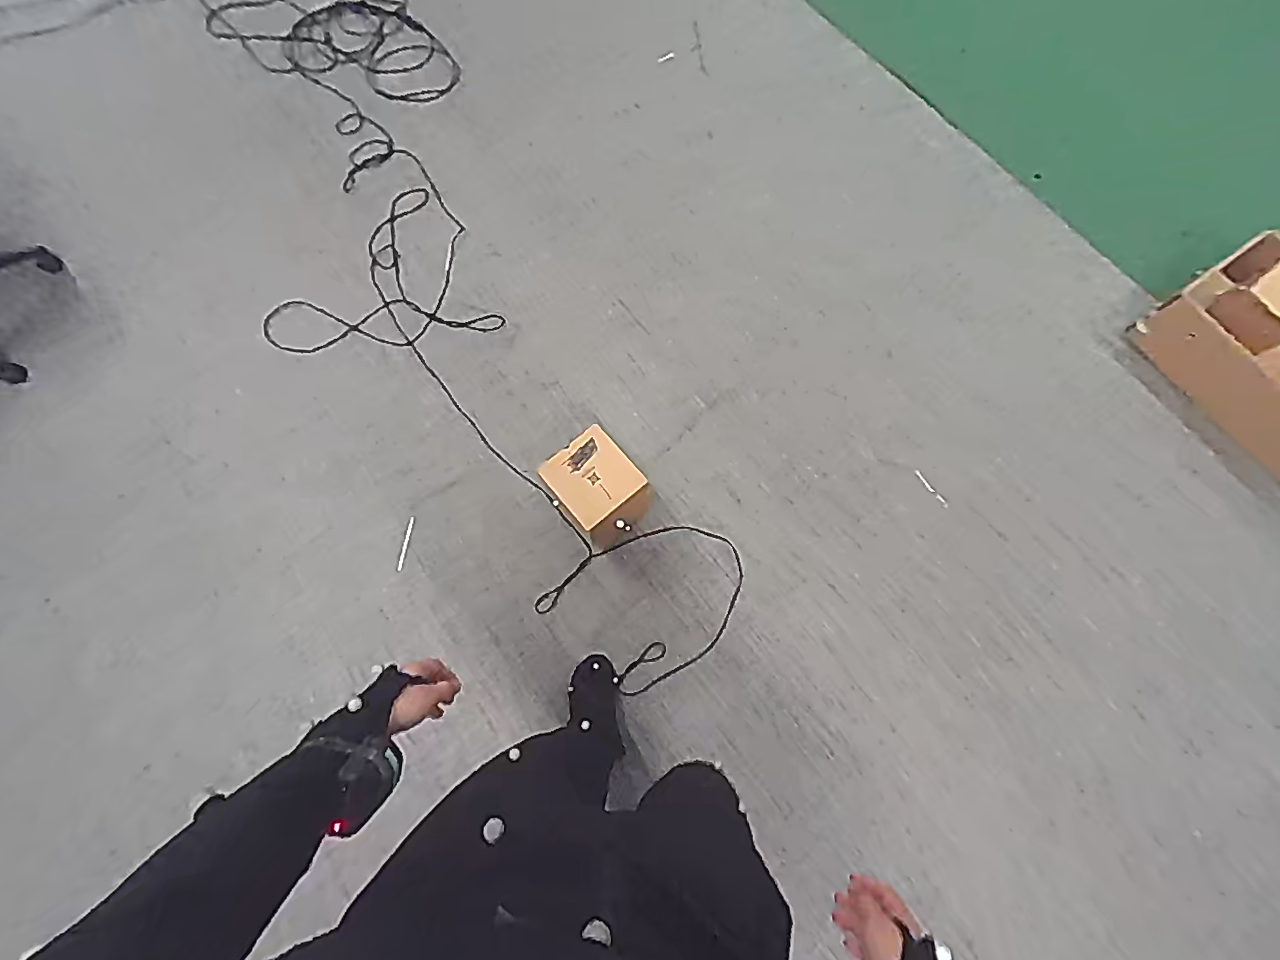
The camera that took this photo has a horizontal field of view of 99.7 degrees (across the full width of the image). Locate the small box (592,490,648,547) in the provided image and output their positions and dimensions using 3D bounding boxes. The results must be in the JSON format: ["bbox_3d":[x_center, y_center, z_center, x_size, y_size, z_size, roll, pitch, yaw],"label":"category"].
[{"bbox_3d":[-0.097,0.050,1.353,0.168,0.176,0.179,-43,77,-13],"label":"small box"}]

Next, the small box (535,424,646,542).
[{"bbox_3d":[-0.106,0.015,1.192,0.168,0.176,0.179,-39,78,-11],"label":"small box"}]

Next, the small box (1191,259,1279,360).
[{"bbox_3d":[1.697,-0.467,1.483,0.179,0.176,0.168,-38,78,-10],"label":"small box"}]
